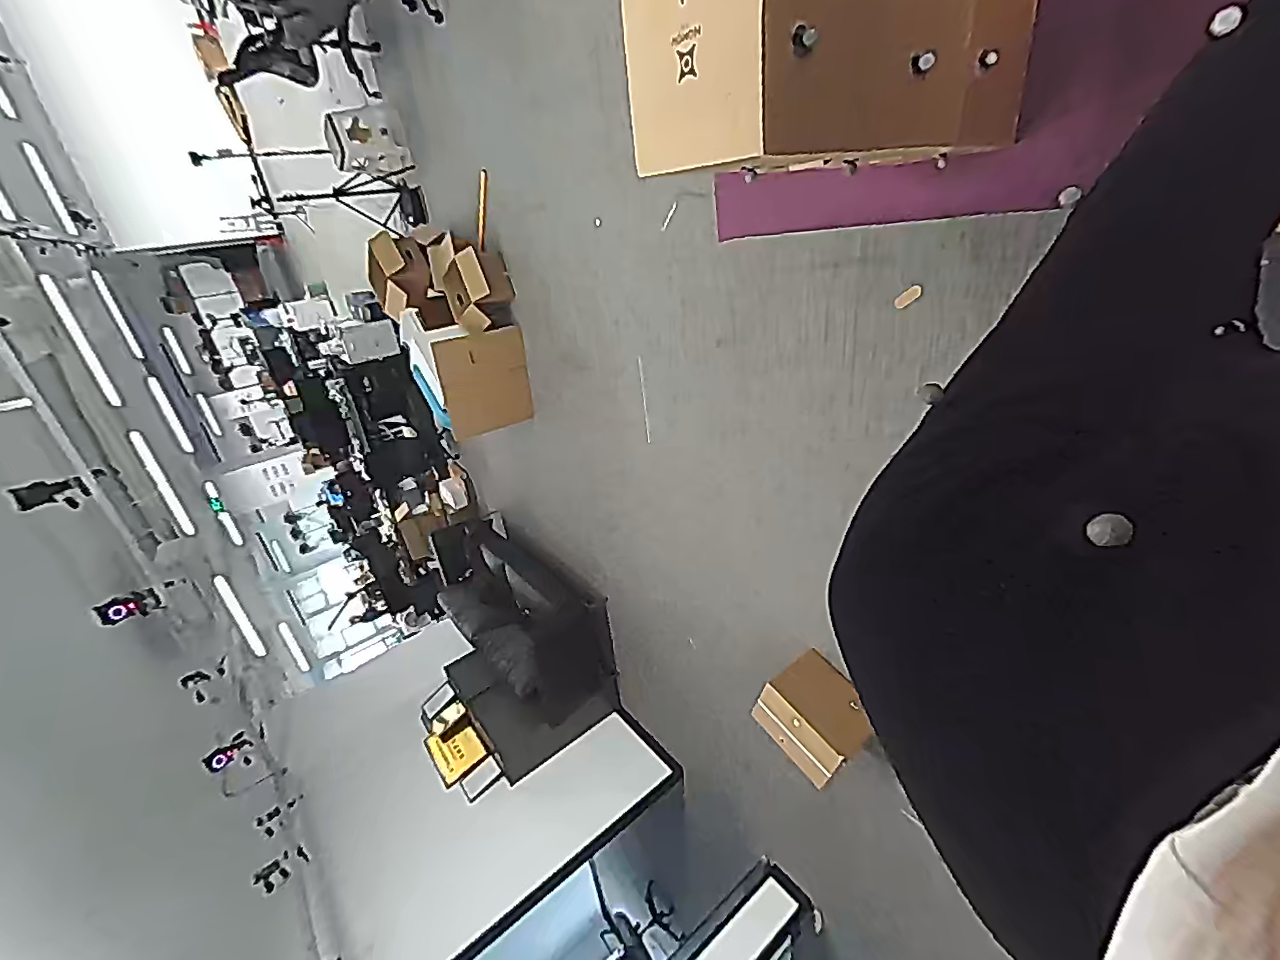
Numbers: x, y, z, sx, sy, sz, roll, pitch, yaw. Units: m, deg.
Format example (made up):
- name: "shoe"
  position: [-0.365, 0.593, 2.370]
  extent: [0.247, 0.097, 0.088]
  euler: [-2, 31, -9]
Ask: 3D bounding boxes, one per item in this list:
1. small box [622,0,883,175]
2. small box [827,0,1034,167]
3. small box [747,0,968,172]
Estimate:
- name: "small box"
  position: [0.103, -0.393, 0.499]
  extent: [0.168, 0.176, 0.179]
  euler: [25, 129, 45]
- name: "small box"
  position: [0.357, -0.504, 0.676]
  extent: [0.168, 0.176, 0.179]
  euler: [25, 129, 47]
- name: "small box"
  position: [0.230, -0.451, 0.589]
  extent: [0.168, 0.176, 0.179]
  euler: [24, 129, 46]
